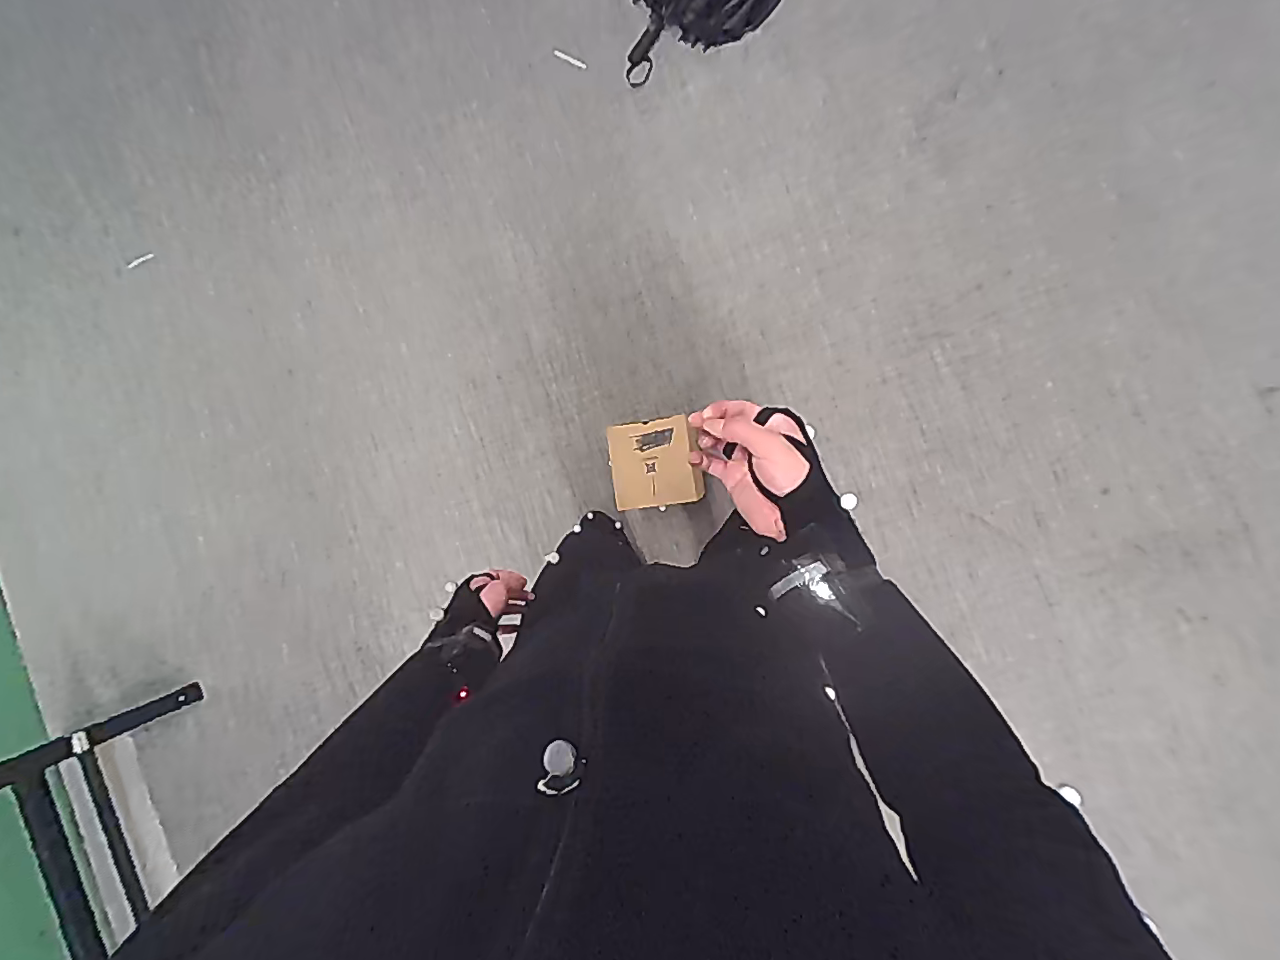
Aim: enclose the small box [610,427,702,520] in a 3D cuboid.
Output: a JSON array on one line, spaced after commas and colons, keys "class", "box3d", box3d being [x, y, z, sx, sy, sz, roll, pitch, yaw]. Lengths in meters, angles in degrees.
[{"class": "small box", "box3d": [0.040, -0.012, 1.170, 0.168, 0.176, 0.179, -7, 90, 10]}]
